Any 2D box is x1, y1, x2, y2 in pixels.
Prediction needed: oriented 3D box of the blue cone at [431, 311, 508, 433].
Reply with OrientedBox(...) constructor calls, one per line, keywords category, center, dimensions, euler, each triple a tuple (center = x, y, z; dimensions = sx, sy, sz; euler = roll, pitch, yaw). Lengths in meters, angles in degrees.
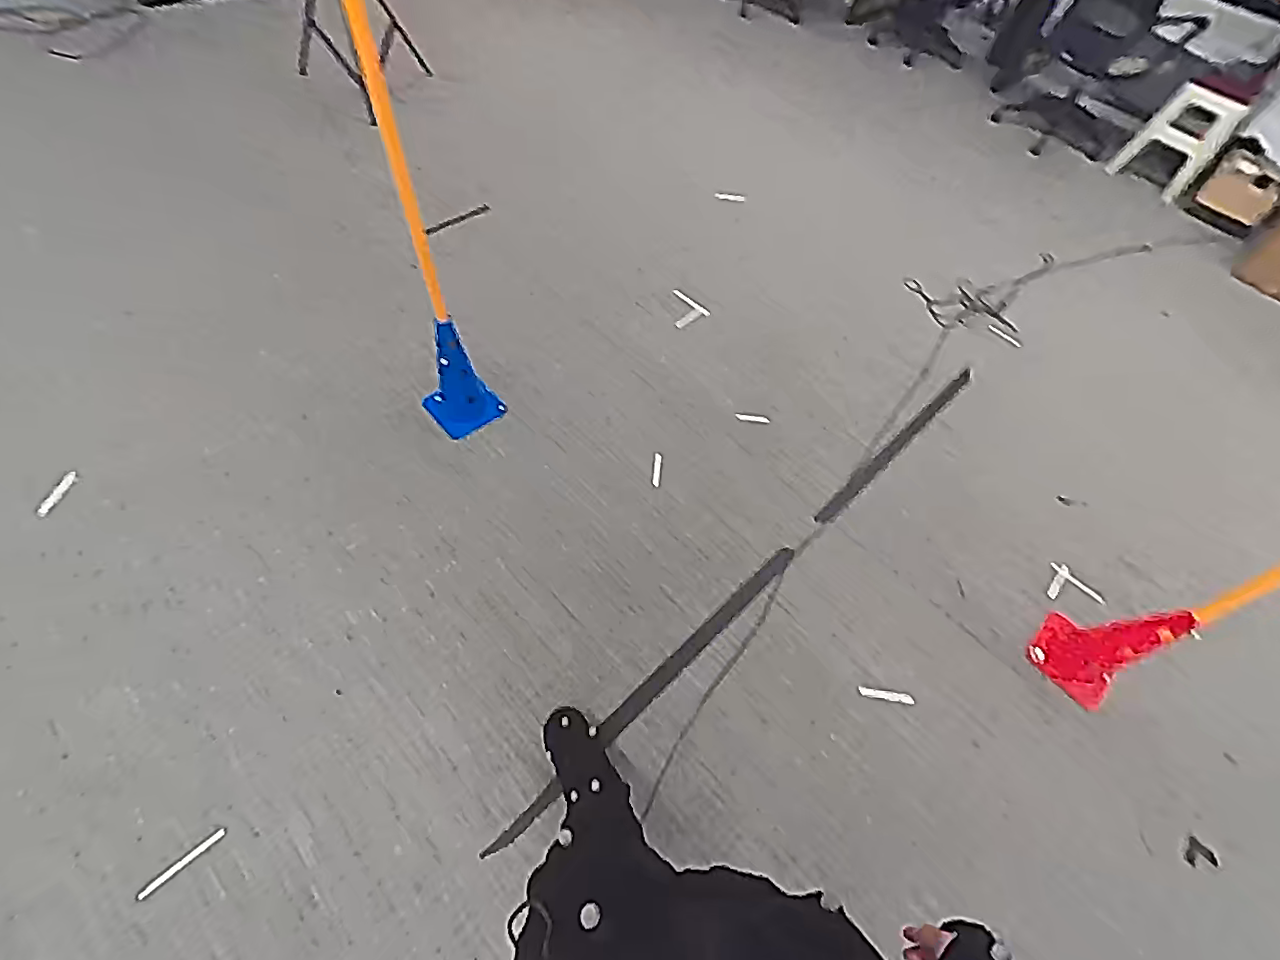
OrientedBox(category="blue cone", center=(-0.522, -0.327, 1.564), dimensions=(0.192, 0.380, 0.193), euler=(-33, 68, -25))
